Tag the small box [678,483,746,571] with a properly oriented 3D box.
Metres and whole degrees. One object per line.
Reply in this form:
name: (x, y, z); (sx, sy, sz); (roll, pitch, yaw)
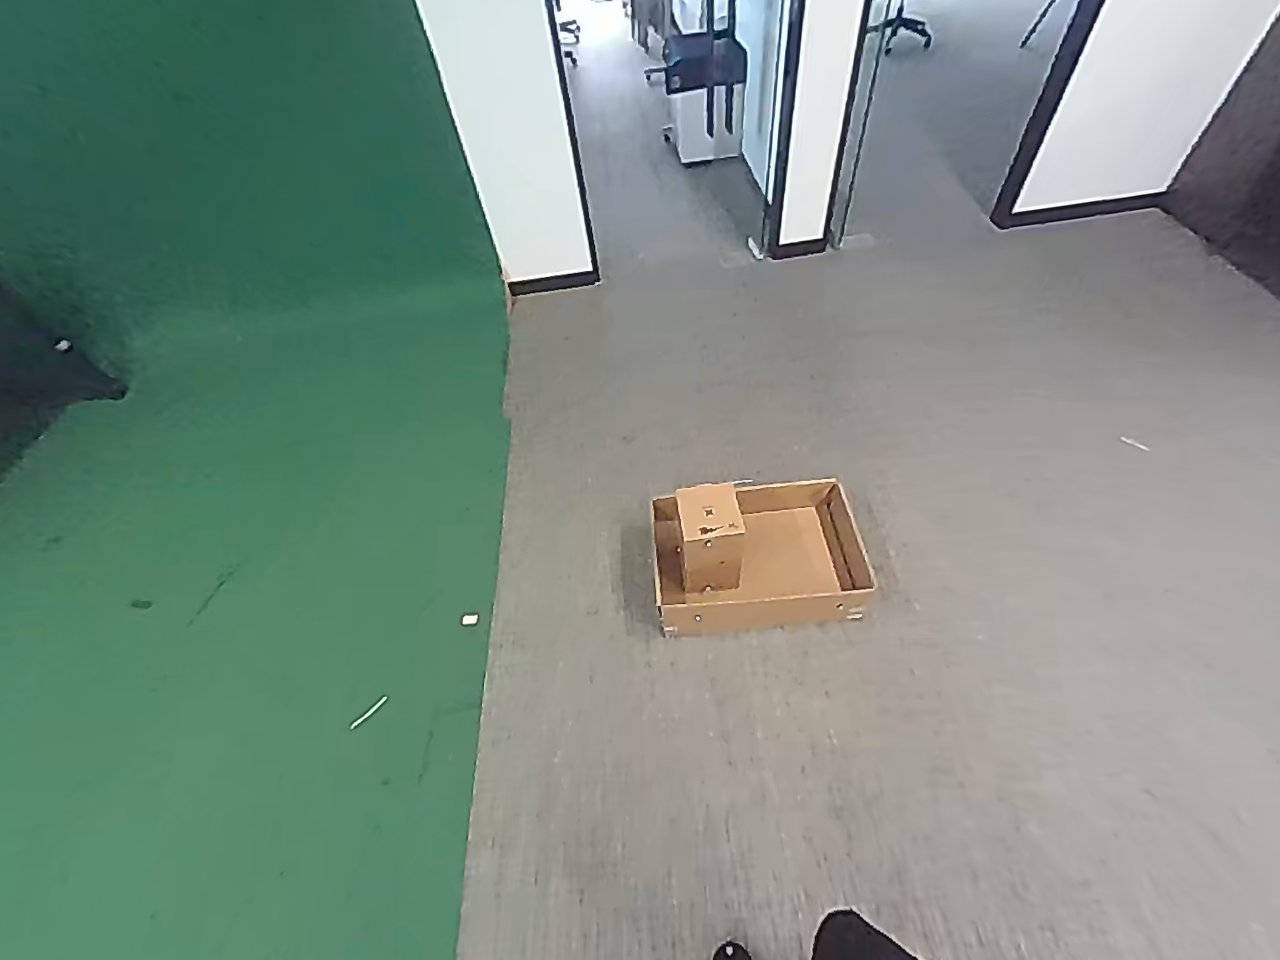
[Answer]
small box: (0.199, 0.135, 1.531); (0.168, 0.176, 0.179); (-8, 51, 1)
